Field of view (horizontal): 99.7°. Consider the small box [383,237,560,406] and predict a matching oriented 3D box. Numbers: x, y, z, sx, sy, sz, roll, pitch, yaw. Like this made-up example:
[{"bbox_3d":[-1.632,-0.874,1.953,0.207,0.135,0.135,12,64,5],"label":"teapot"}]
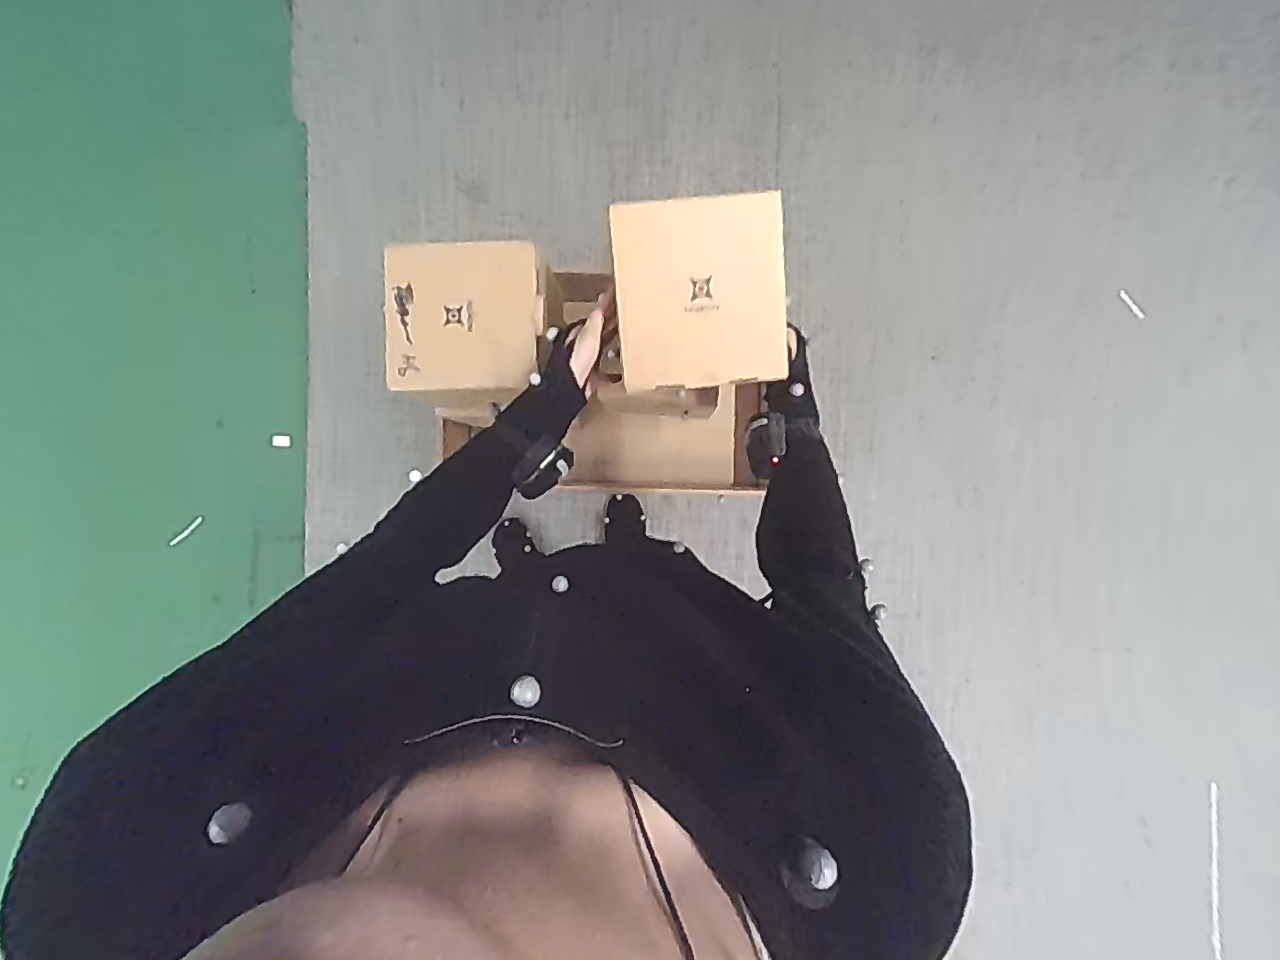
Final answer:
[{"bbox_3d":[-0.196,-0.186,0.676,0.179,0.176,0.168,0,90,1],"label":"small box"}]
